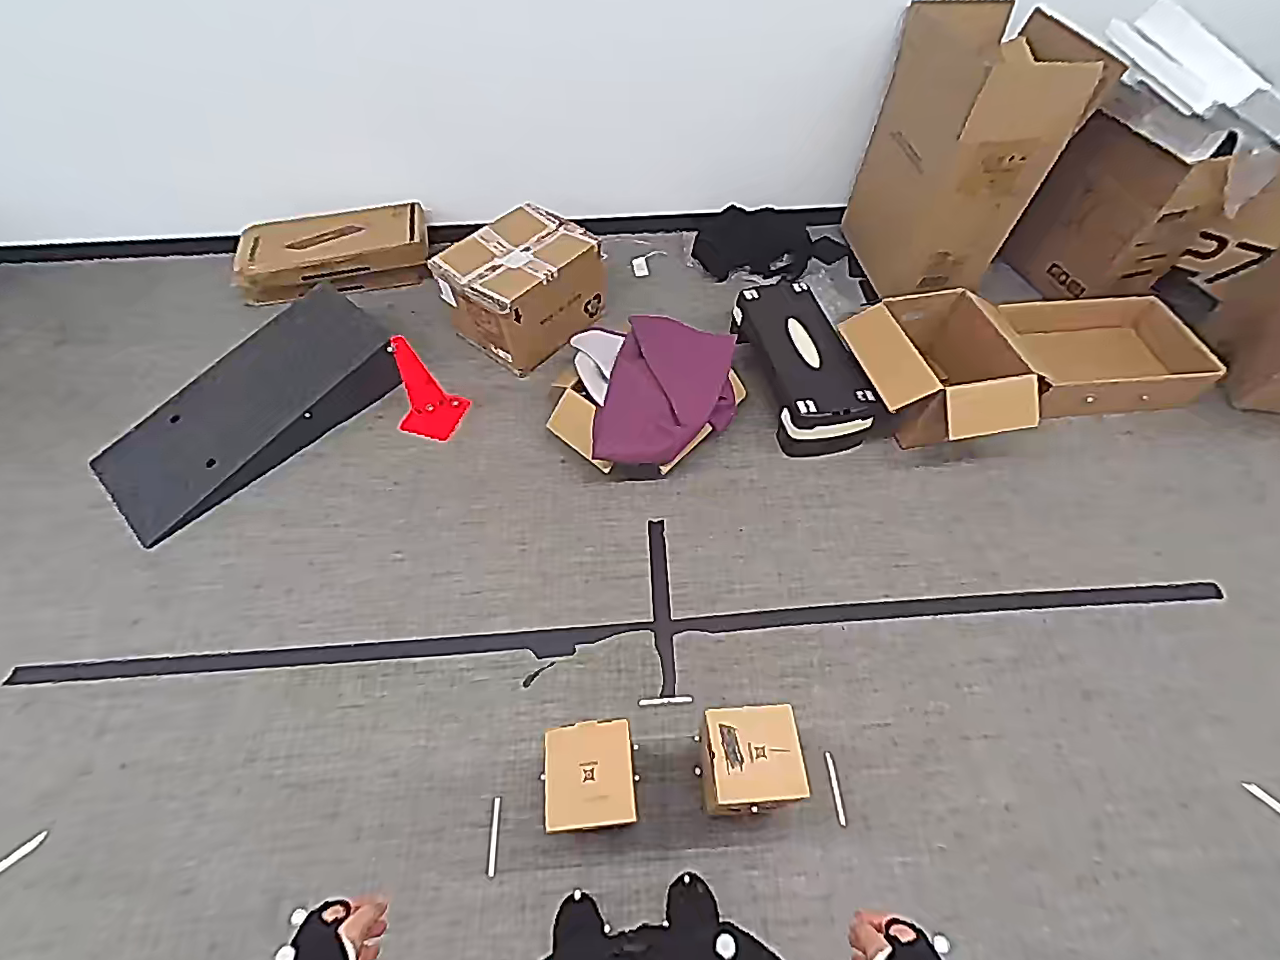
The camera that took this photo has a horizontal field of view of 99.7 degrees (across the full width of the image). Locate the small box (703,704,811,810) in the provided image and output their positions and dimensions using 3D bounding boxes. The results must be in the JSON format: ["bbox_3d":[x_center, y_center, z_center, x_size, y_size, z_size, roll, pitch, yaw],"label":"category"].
[{"bbox_3d":[0.225,0.564,1.096,0.179,0.176,0.168,-3,56,-2],"label":"small box"}]

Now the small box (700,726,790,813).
[{"bbox_3d":[0.231,0.655,1.233,0.168,0.176,0.179,-1,57,-2],"label":"small box"}]

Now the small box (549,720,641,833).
[{"bbox_3d":[-0.088,0.595,1.080,0.168,0.176,0.179,-7,58,-2],"label":"small box"}]
